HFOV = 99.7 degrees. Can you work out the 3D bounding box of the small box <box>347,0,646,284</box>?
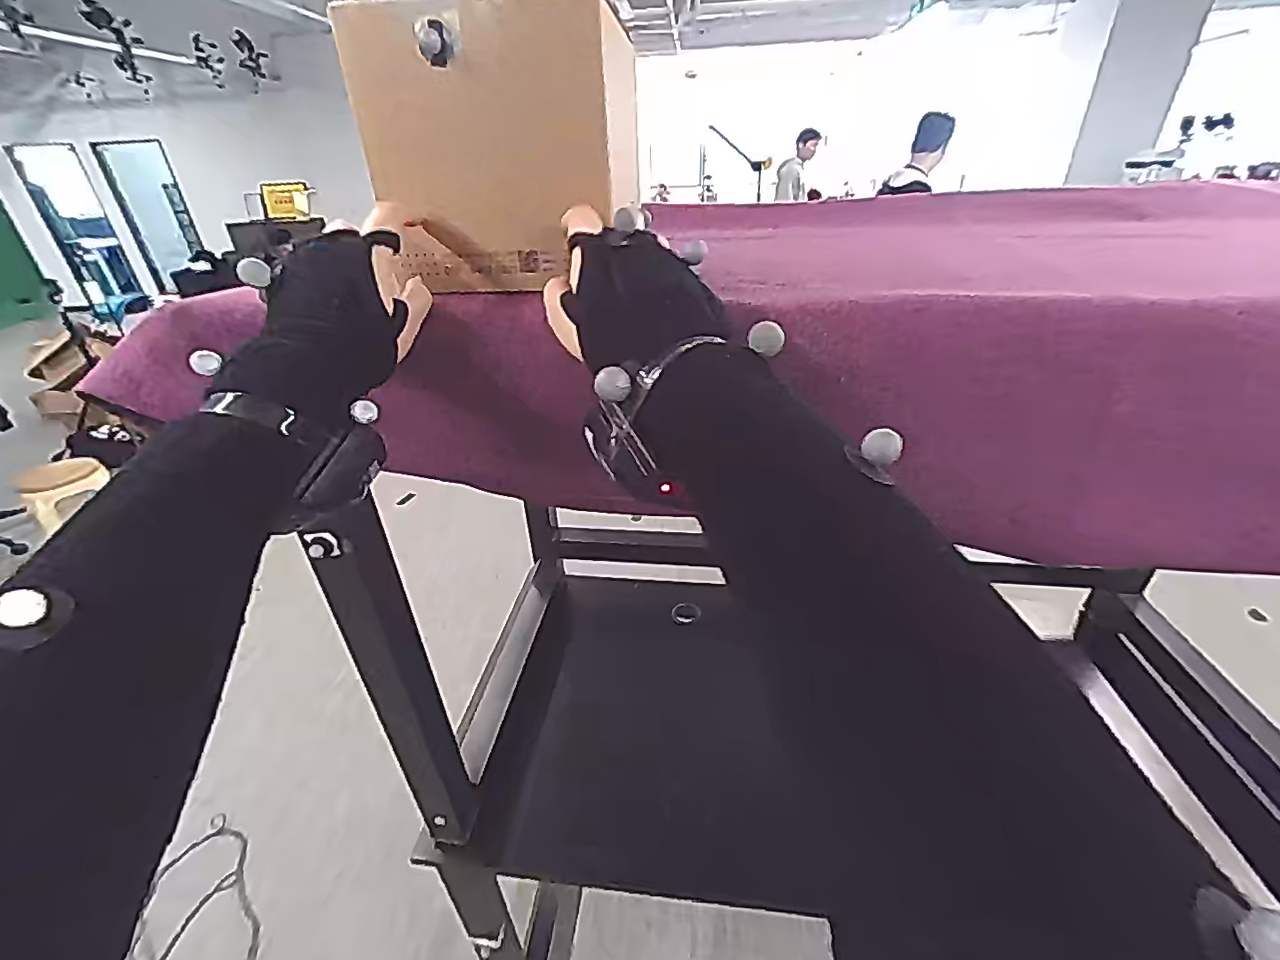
[{"bbox_3d":[-0.086,-0.256,0.426,0.168,0.176,0.179,2,29,8],"label":"small box"}]
